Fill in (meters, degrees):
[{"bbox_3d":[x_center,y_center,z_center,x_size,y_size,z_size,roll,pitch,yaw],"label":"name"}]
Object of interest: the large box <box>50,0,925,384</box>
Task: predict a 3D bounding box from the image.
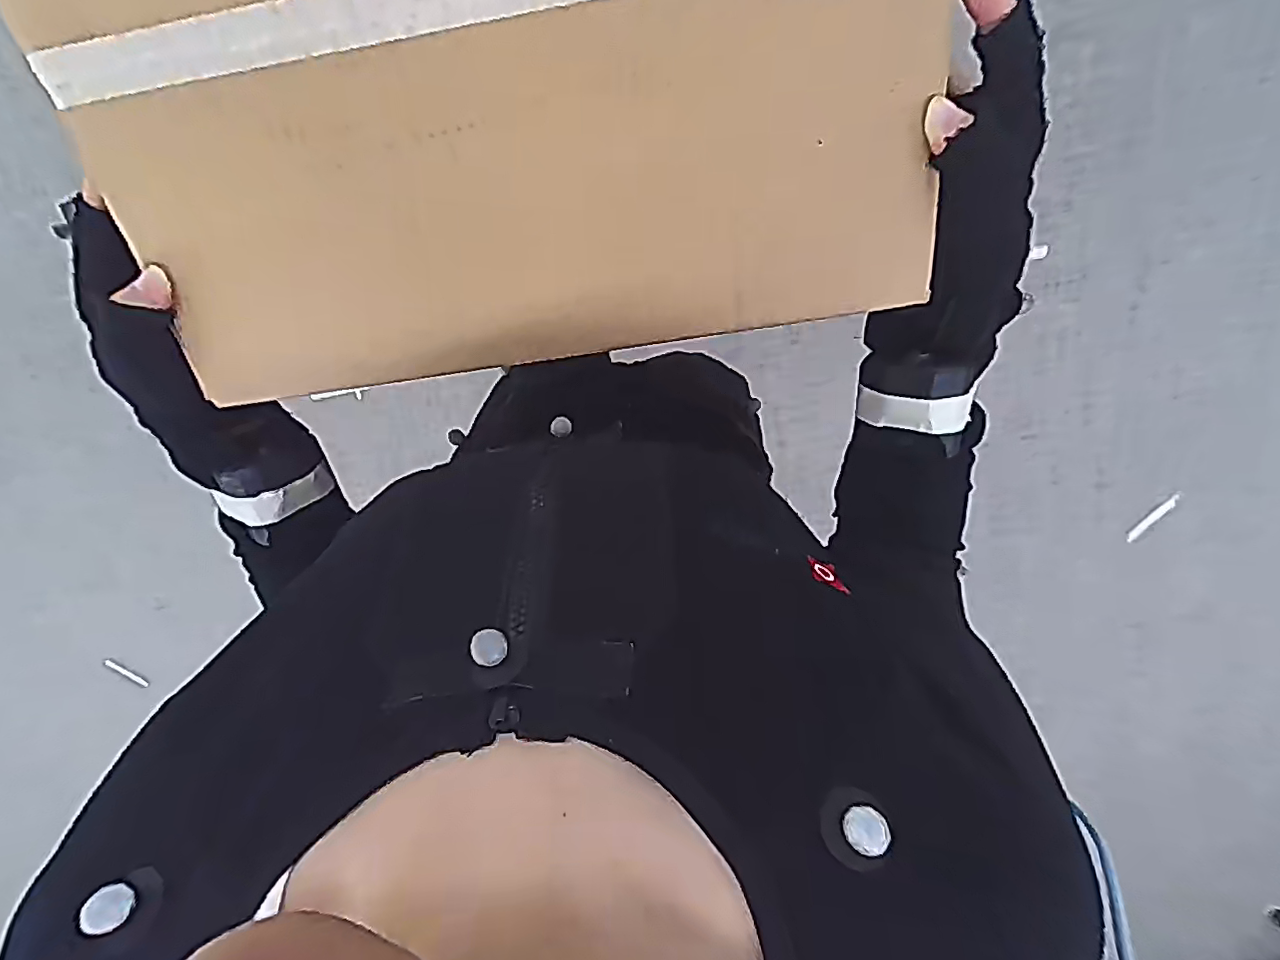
[{"bbox_3d":[-0.071,-0.283,0.380,0.408,0.320,0.320,-8,116,4],"label":"large box"}]
